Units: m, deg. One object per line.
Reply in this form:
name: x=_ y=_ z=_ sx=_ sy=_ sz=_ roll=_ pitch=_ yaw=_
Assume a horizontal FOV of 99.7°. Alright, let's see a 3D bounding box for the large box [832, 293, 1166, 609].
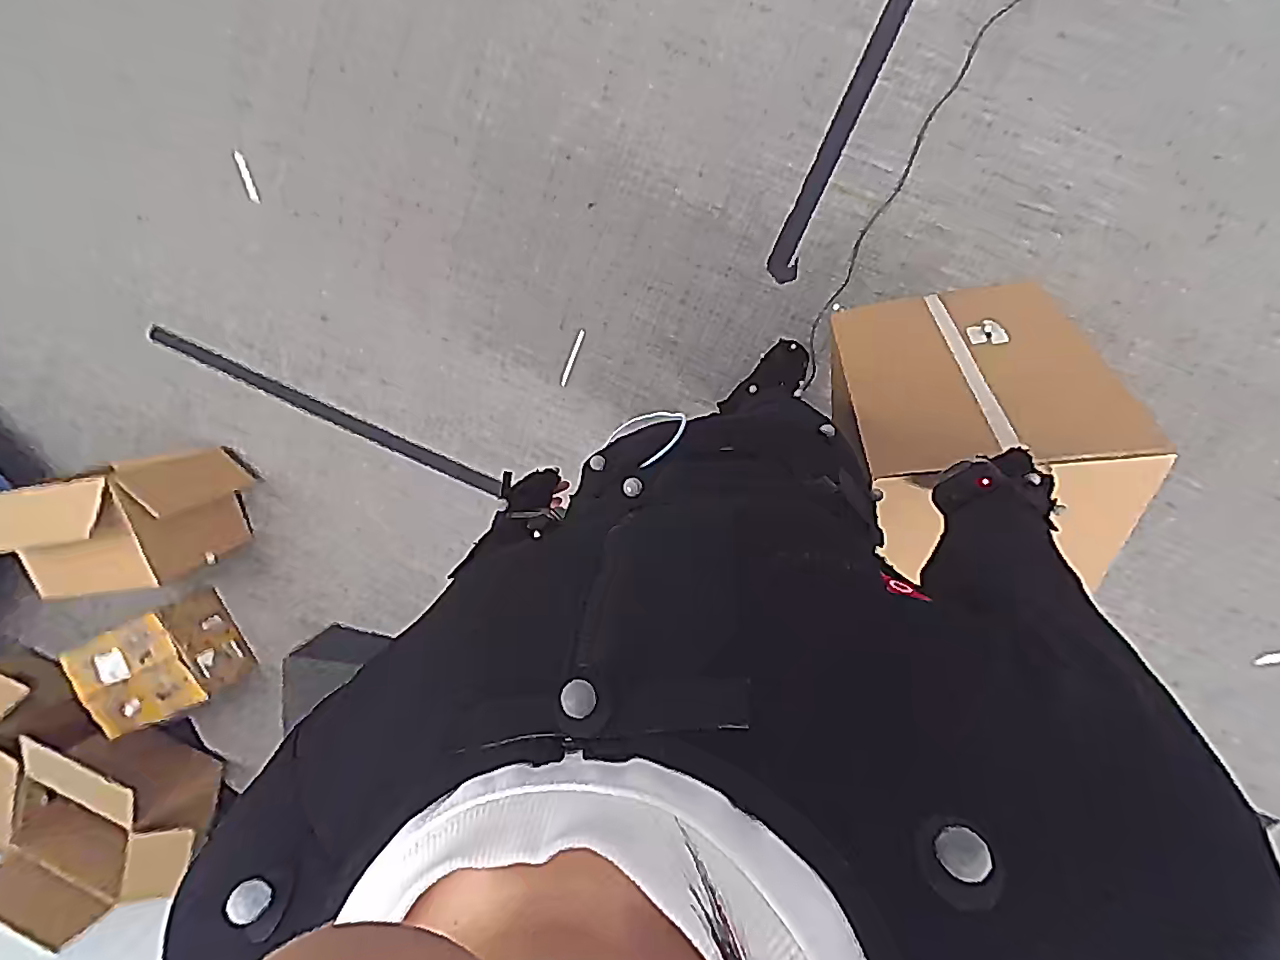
large box: x=0.499 y=-0.047 z=0.876 sx=0.320 sy=0.408 sz=0.320 roll=-4 pitch=134 yaw=13
